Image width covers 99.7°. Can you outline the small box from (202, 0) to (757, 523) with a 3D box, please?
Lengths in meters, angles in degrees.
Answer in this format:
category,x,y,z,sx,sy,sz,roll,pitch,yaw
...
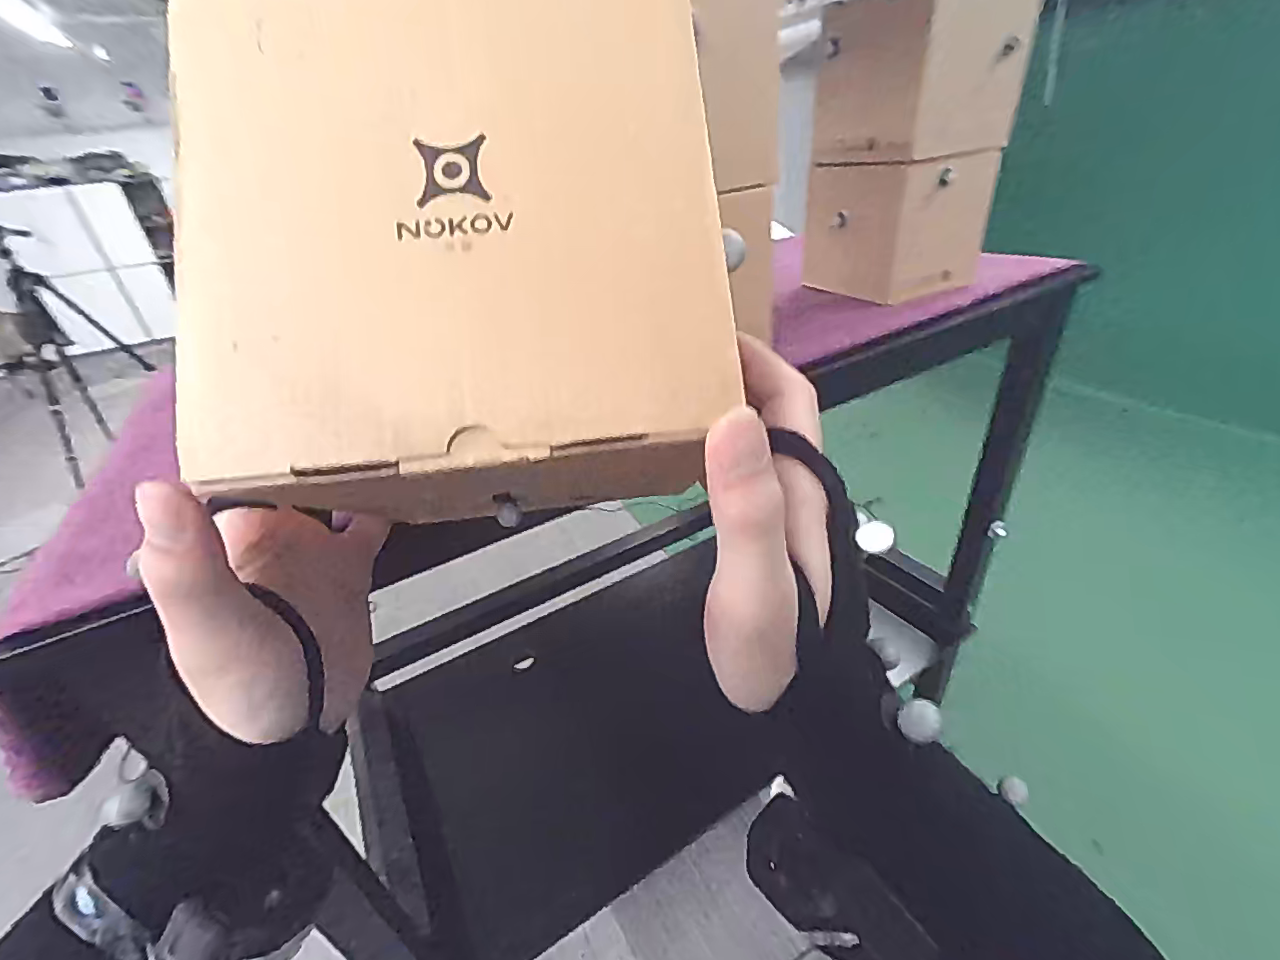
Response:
category,x,y,z,sx,sy,sz,roll,pitch,yaw
small box,-0.056,-0.078,0.252,0.168,0.179,0.176,-6,-6,-3

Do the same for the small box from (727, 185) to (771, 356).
category,x,y,z,sx,sy,sz,roll,pitch,yaw
small box,0.027,-0.227,0.610,0.168,0.176,0.179,-21,34,-20

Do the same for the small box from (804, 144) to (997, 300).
category,x,y,z,sx,sy,sz,roll,pitch,yaw
small box,0.350,-0.361,0.762,0.168,0.176,0.179,-21,34,-19

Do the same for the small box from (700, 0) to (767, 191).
category,x,y,z,sx,sy,sz,roll,pitch,yaw
small box,0.008,-0.363,0.521,0.179,0.176,0.168,-22,34,-21
